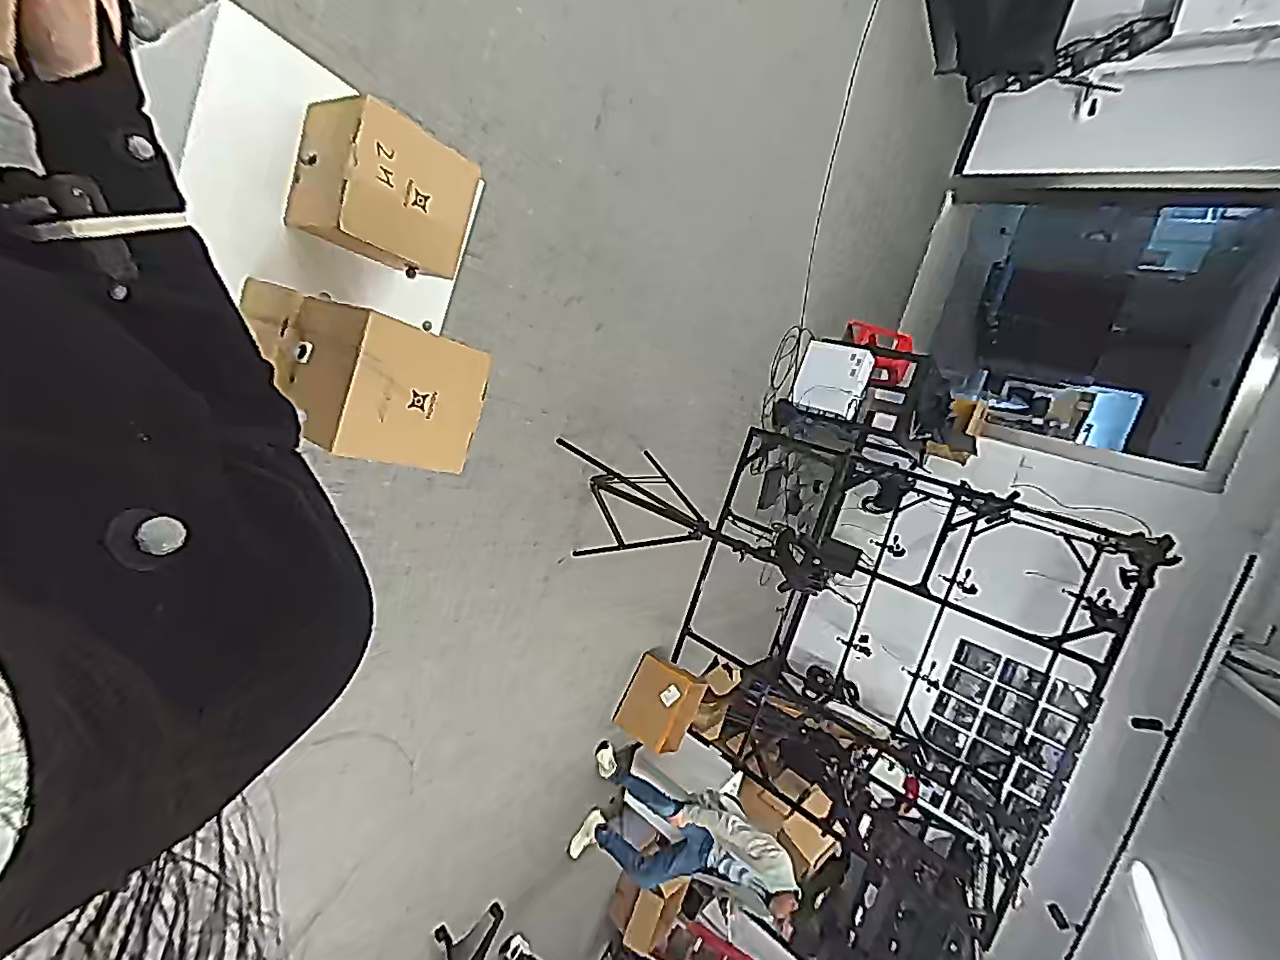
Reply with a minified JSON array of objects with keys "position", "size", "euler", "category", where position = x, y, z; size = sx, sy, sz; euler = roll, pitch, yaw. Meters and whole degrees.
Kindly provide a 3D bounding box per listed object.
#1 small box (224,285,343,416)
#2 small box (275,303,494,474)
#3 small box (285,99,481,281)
[{"position":[-0.460,-0.168,0.779],"size":[0.179,0.176,0.168],"euler":[13,96,-55],"category":"small box"},{"position":[-0.327,-0.117,0.697],"size":[0.179,0.176,0.168],"euler":[11,97,-55],"category":"small box"},{"position":[-0.367,-0.406,0.775],"size":[0.179,0.176,0.168],"euler":[8,102,-55],"category":"small box"}]
